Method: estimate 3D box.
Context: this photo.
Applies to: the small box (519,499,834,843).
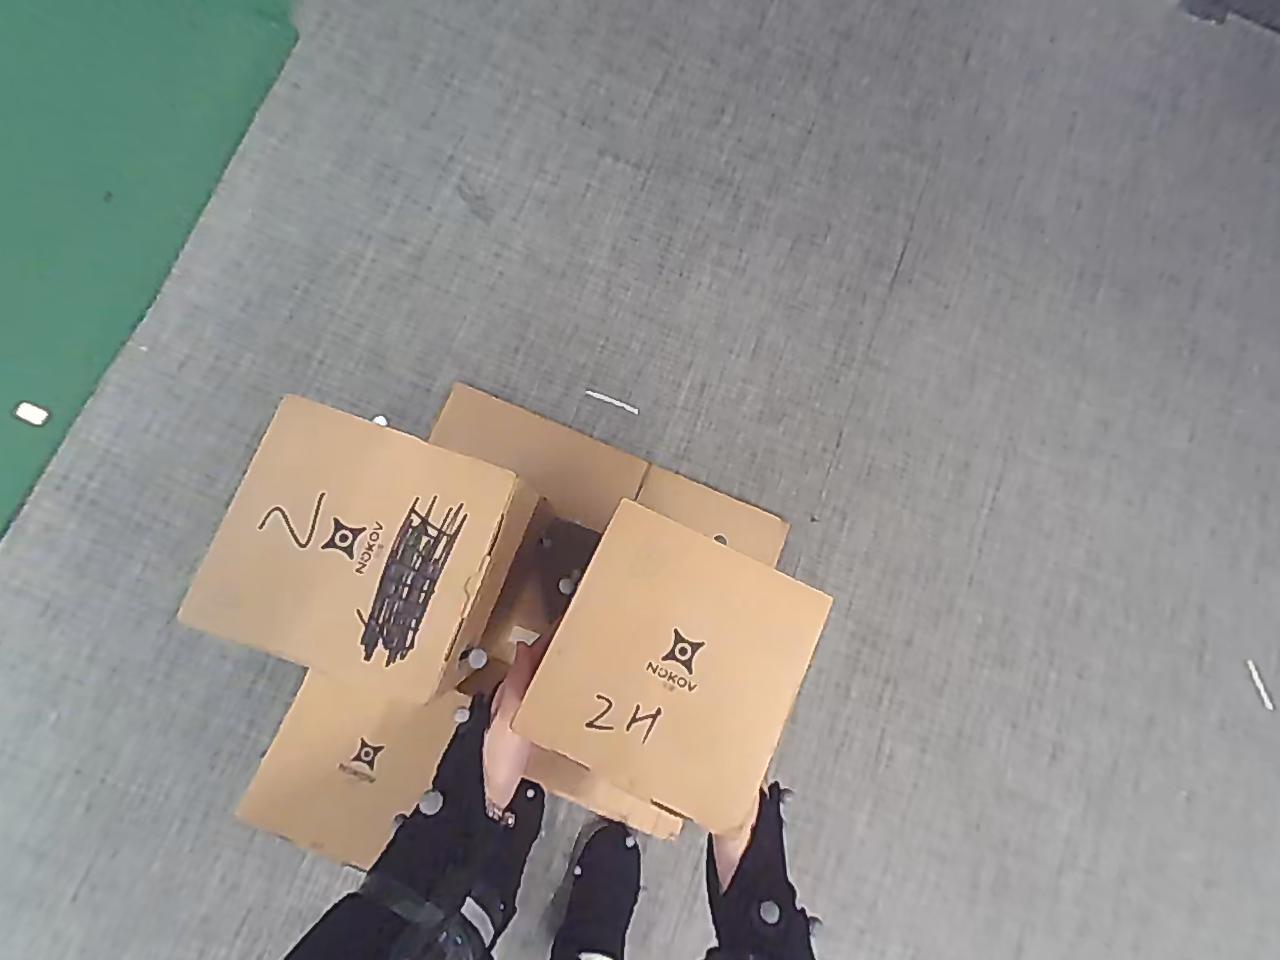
[{"bbox_3d":[0.024,0.138,0.443,0.168,0.176,0.179,26,79,3],"label":"small box"}]
